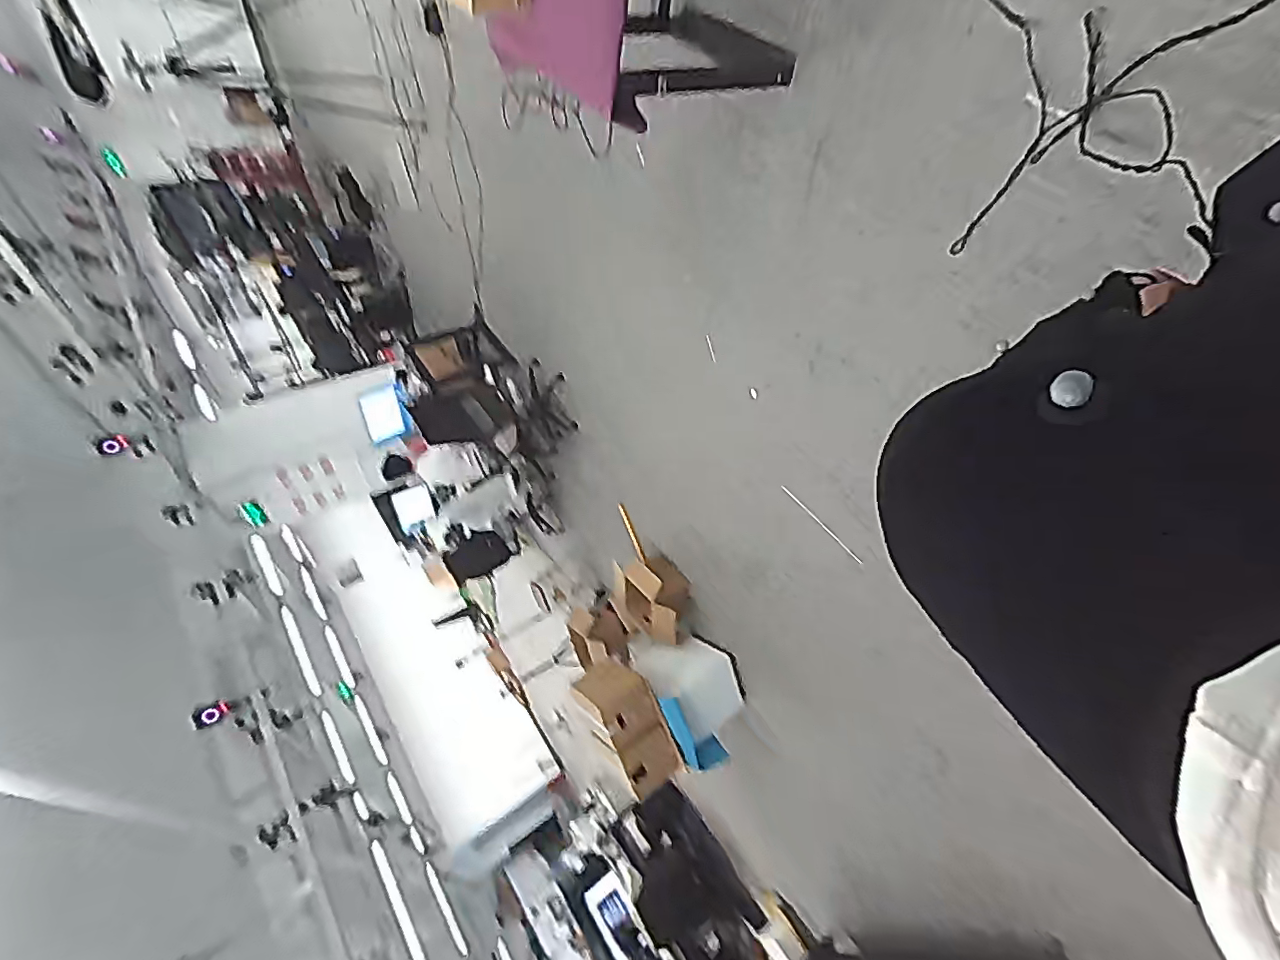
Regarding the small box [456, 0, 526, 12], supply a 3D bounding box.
[{"bbox_3d":[-0.392,-1.311,1.362,0.179,0.176,0.168,50,148,25],"label":"small box"}]
